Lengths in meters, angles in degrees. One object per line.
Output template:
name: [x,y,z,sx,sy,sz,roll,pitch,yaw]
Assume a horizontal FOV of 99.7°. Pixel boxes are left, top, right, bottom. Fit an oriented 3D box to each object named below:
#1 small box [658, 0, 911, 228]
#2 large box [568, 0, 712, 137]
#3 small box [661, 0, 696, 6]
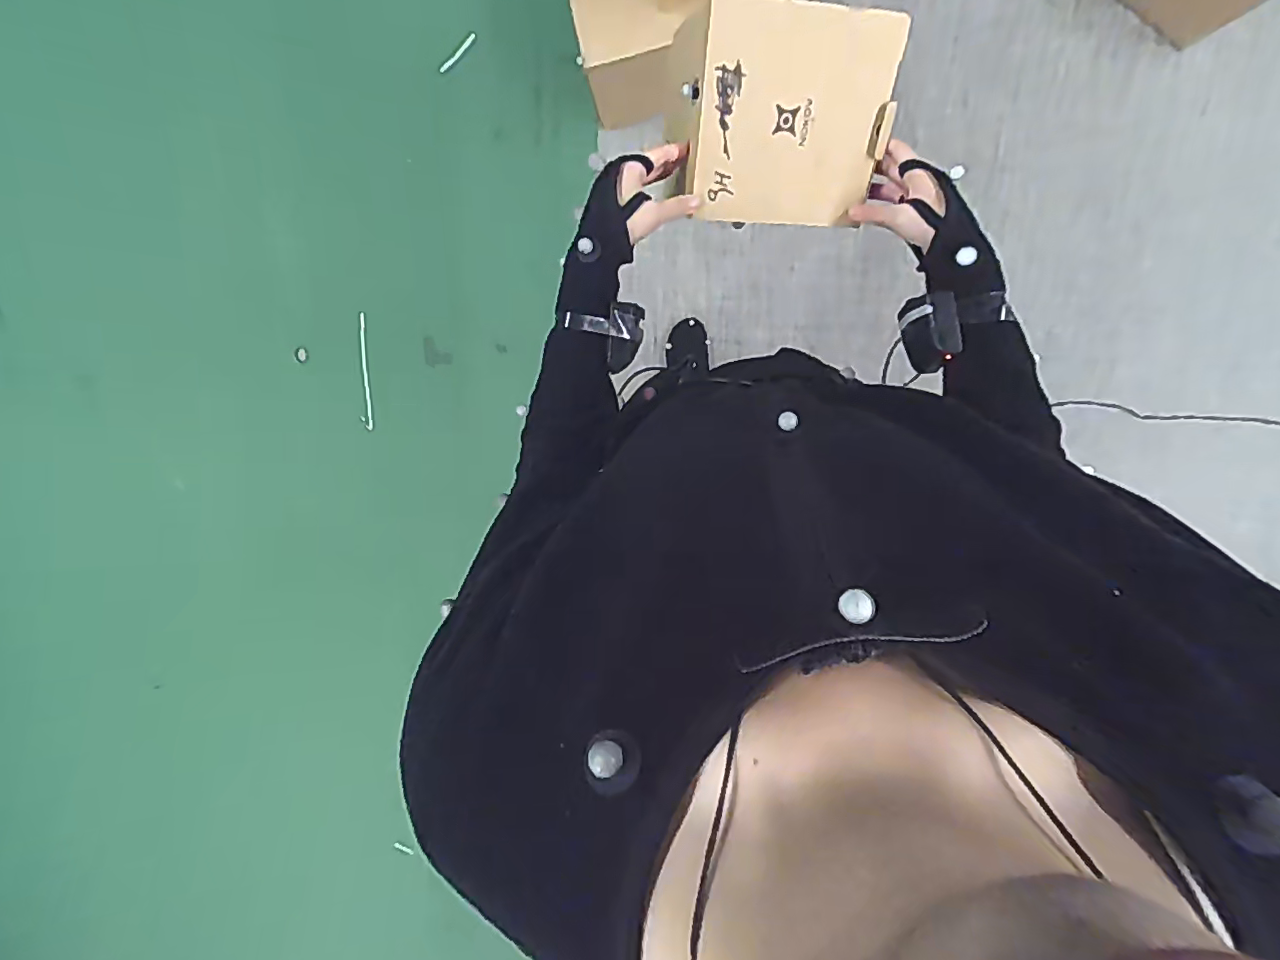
small box: [0.124,-0.359,0.544,0.179,0.176,0.168,0,120,-9]
large box: [0.066,-0.995,1.136,0.408,0.320,0.320,-12,100,7]
small box: [0.096,-0.938,0.896,0.168,0.176,0.179,-11,102,5]
